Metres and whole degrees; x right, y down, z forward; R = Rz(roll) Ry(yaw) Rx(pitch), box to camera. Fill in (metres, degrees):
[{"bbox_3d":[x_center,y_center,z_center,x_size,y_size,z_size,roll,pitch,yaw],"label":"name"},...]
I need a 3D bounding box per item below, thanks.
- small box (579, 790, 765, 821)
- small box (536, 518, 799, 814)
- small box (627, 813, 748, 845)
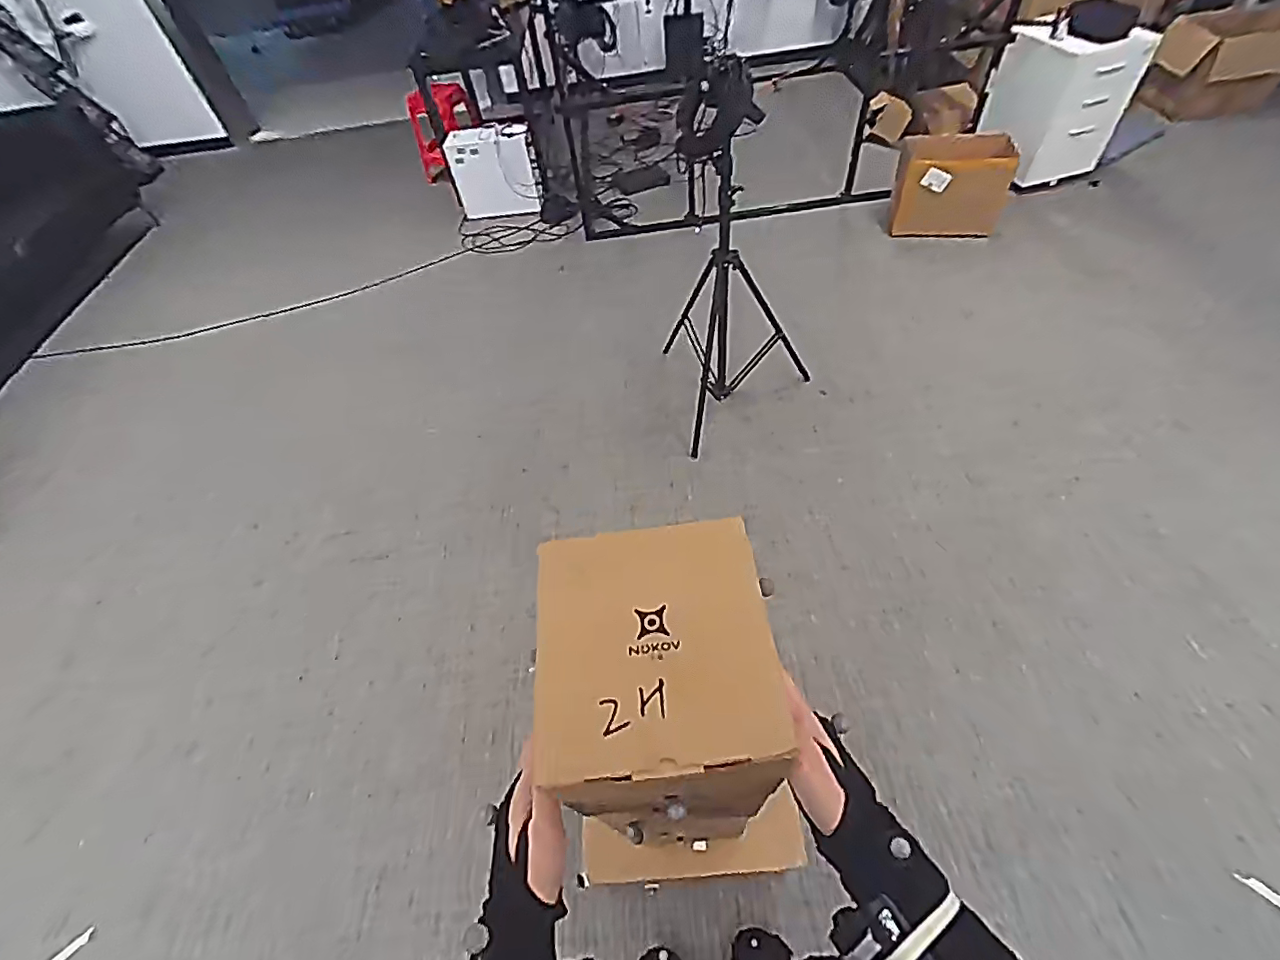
[{"bbox_3d":[0.033,0.254,0.576,0.168,0.176,0.179,-6,52,3],"label":"small box"},{"bbox_3d":[0.017,0.156,0.444,0.168,0.176,0.179,-8,53,2],"label":"small box"},{"bbox_3d":[0.065,0.450,0.837,0.168,0.176,0.179,-8,53,2],"label":"small box"}]
